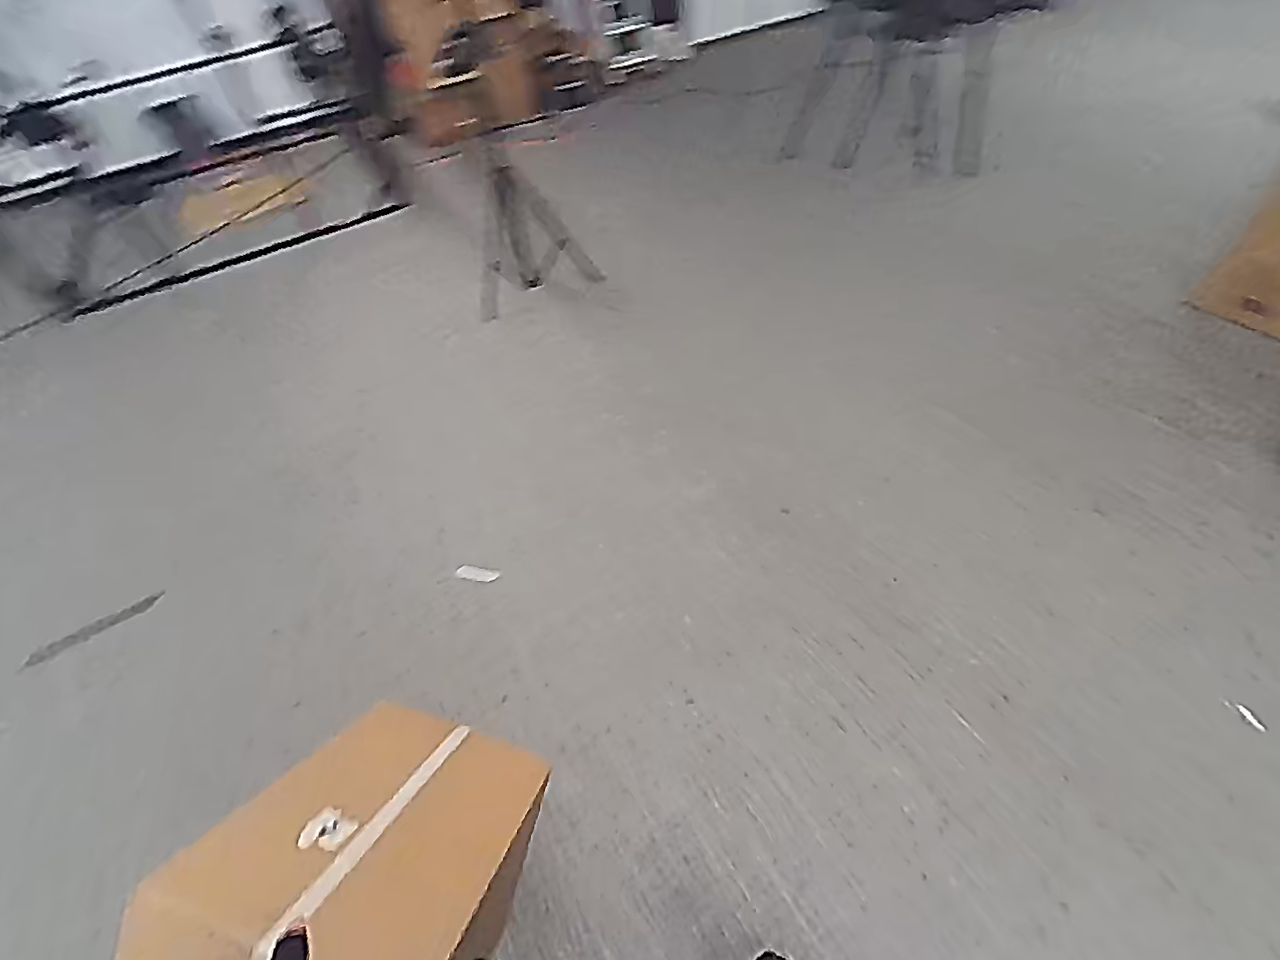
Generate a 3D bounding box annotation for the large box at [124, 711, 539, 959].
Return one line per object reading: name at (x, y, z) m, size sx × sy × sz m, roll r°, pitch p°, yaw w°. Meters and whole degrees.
large box at (-0.375, 0.596, 0.728) m, size 0.320 × 0.320 × 0.408 m, roll 16°, pitch 7°, yaw 7°
